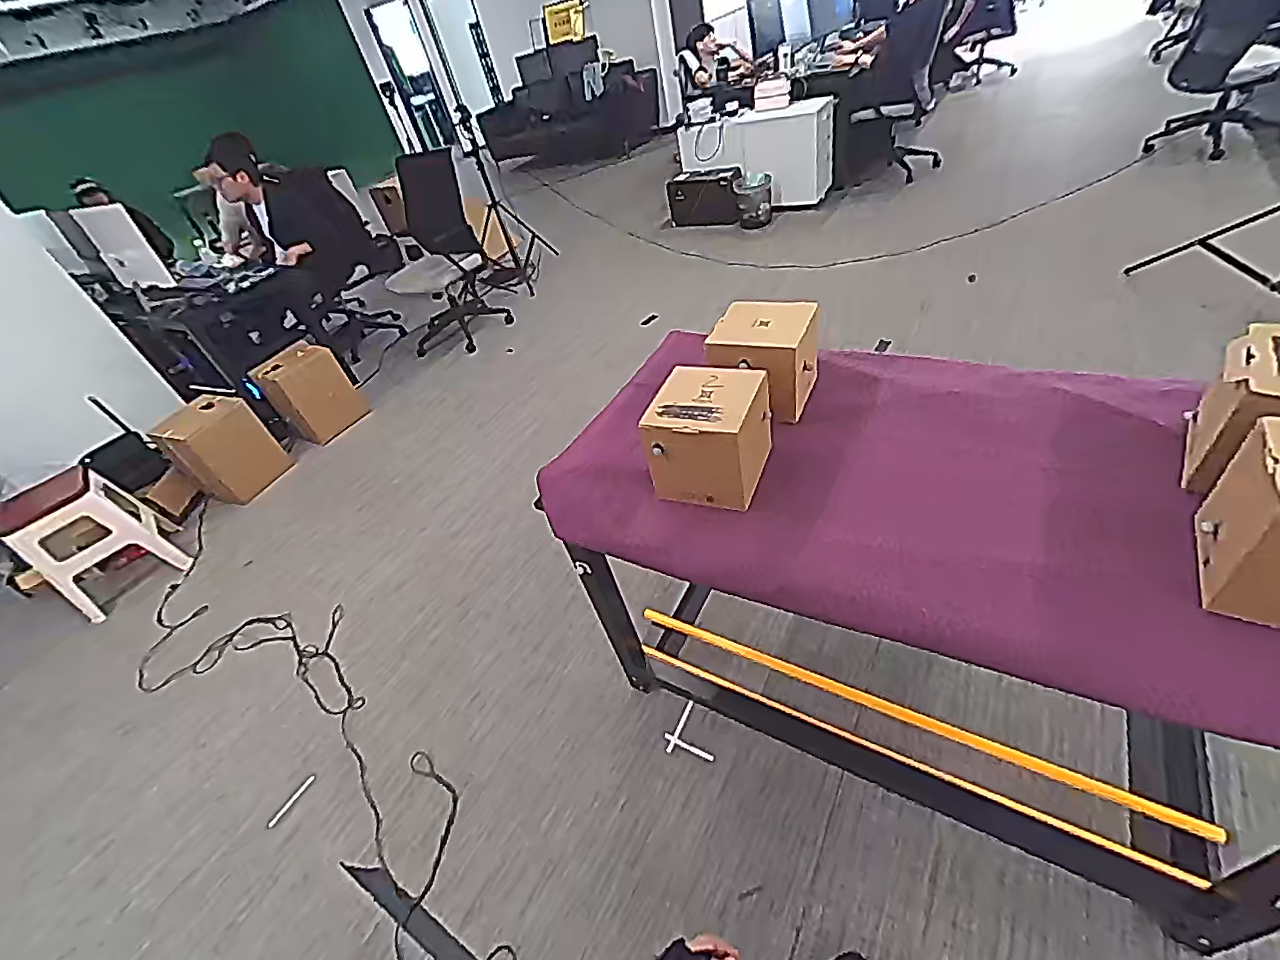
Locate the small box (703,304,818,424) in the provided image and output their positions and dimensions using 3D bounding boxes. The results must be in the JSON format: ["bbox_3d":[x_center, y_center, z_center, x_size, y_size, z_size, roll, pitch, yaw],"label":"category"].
[{"bbox_3d":[0.244,-0.228,1.068,0.179,0.176,0.168,11,47,27],"label":"small box"}]

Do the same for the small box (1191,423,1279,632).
[{"bbox_3d":[0.750,0.065,0.581,0.179,0.176,0.168,15,48,31],"label":"small box"}]

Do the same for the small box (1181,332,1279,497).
[{"bbox_3d":[0.849,-0.067,0.696,0.179,0.176,0.168,20,54,33],"label":"small box"}]
